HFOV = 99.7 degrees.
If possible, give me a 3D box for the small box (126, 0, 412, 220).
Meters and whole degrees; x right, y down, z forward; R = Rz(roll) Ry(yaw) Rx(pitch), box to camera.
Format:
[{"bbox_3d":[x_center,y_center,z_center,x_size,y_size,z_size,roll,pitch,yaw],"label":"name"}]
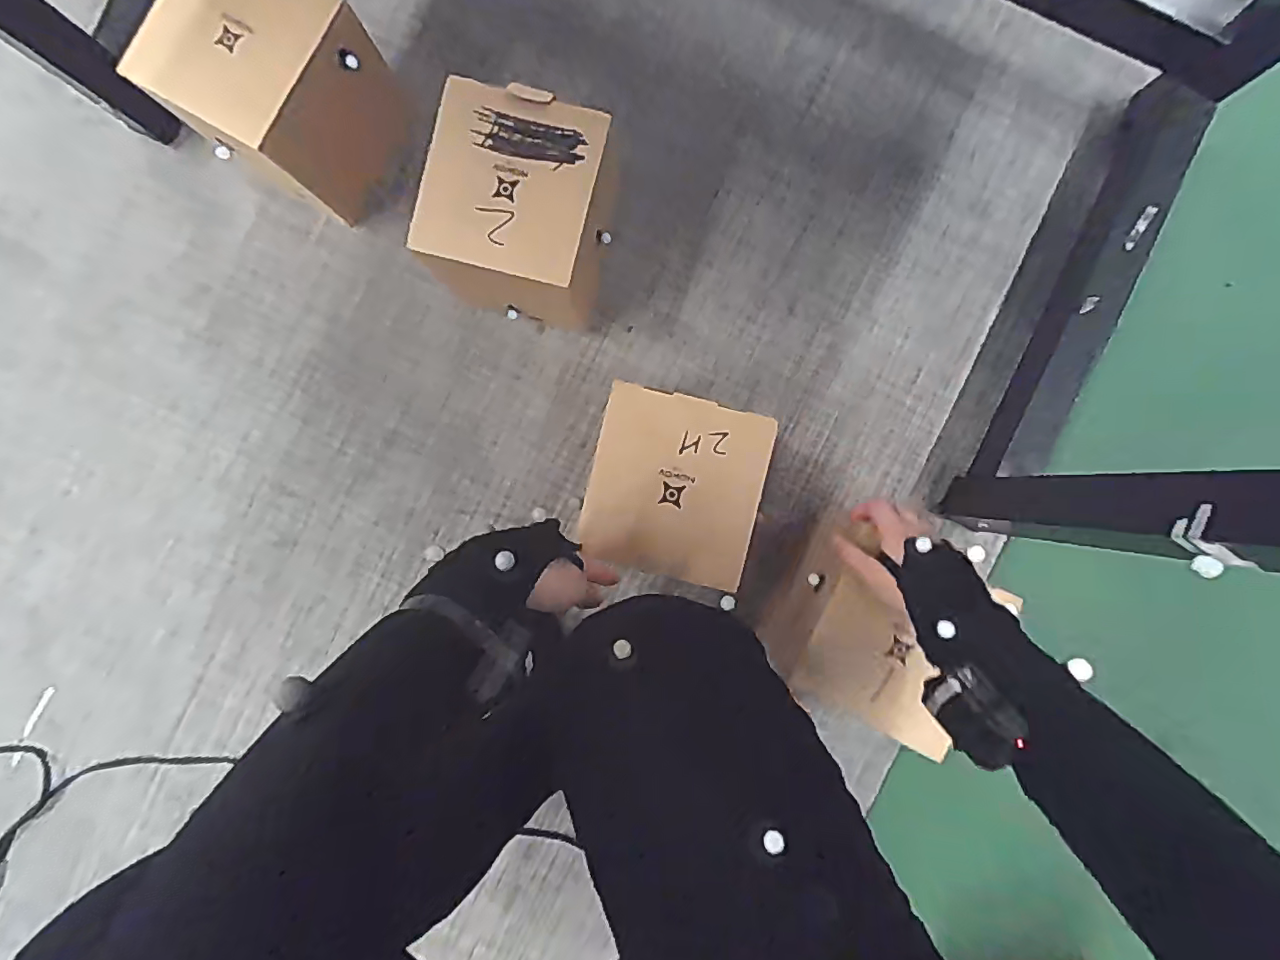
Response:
[{"bbox_3d":[-0.392,-0.435,0.607,0.168,0.176,0.179,30,90,2],"label":"small box"}]
